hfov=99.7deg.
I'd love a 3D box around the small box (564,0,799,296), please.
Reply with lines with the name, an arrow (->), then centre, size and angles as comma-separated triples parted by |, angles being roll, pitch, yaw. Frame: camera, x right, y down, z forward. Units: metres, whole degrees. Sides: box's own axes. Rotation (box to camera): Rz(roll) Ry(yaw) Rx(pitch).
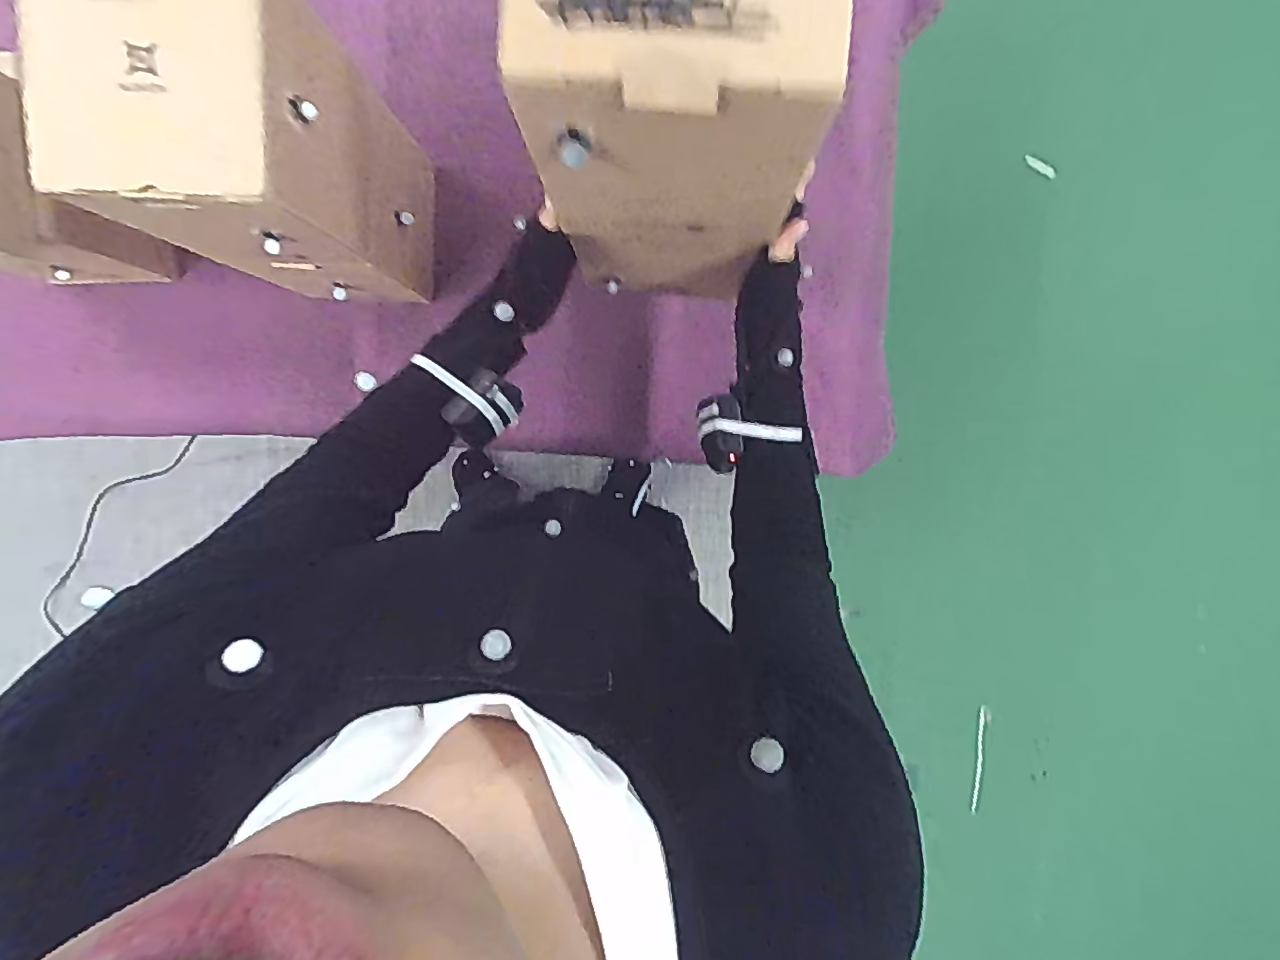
small box -> 0.034, -0.287, 0.502 | 0.168, 0.176, 0.179 | 8, 91, 1

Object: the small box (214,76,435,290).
small box -> -0.346, -0.321, 0.614 | 0.168, 0.176, 0.179 | 0, 96, 1

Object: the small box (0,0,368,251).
small box -> -0.339, -0.298, 0.435 | 0.168, 0.176, 0.179 | 3, 96, -1

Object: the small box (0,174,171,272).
small box -> -0.683, -0.347, 0.607 | 0.168, 0.176, 0.179 | -1, 97, -1
